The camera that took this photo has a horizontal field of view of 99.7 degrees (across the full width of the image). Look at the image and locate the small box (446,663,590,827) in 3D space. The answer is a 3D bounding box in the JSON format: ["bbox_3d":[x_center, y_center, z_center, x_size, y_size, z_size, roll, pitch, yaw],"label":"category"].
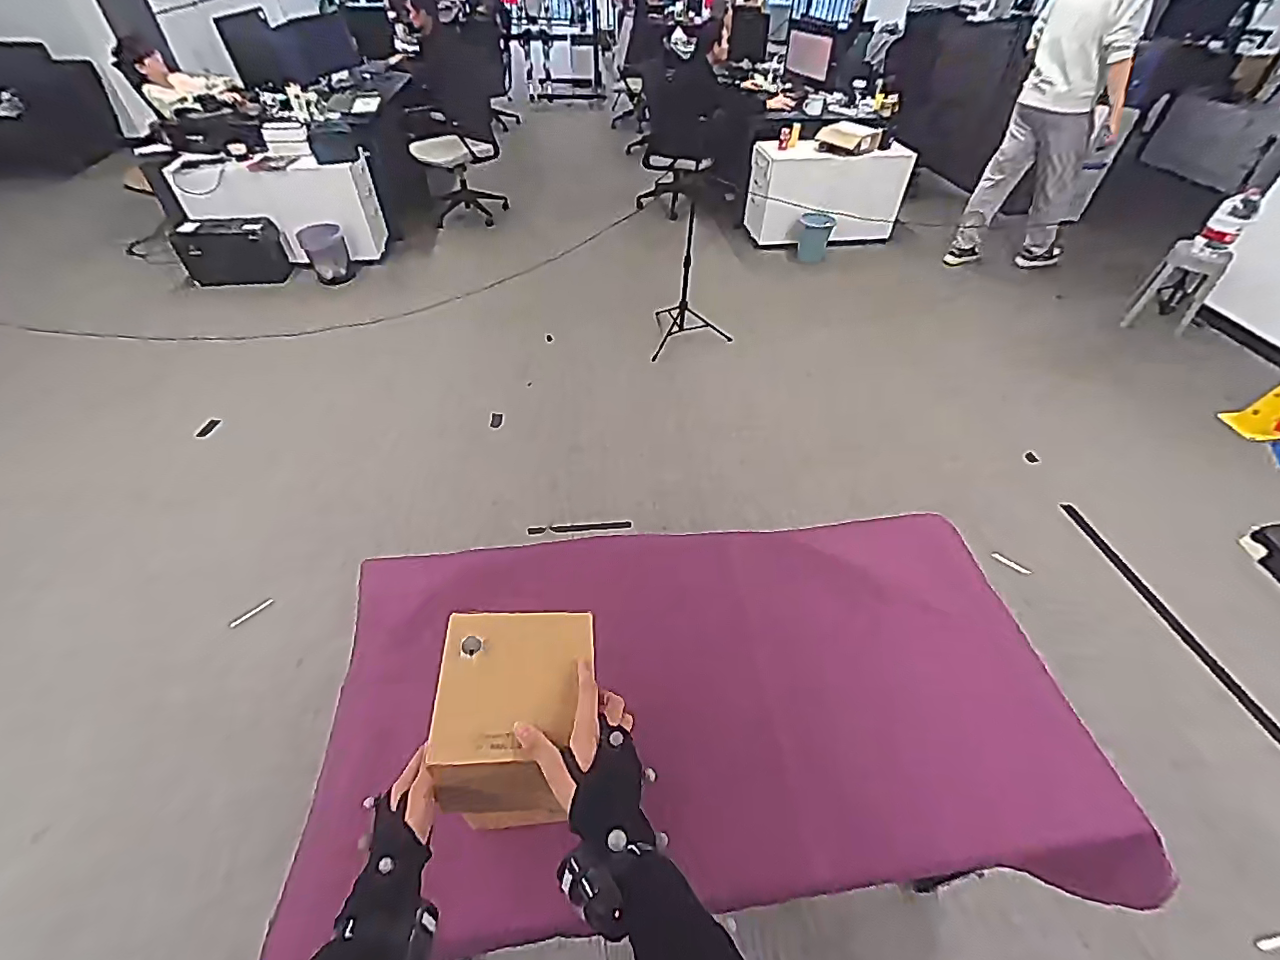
[{"bbox_3d":[-0.161,0.382,0.779,0.179,0.176,0.168,-3,46,-5],"label":"small box"}]
